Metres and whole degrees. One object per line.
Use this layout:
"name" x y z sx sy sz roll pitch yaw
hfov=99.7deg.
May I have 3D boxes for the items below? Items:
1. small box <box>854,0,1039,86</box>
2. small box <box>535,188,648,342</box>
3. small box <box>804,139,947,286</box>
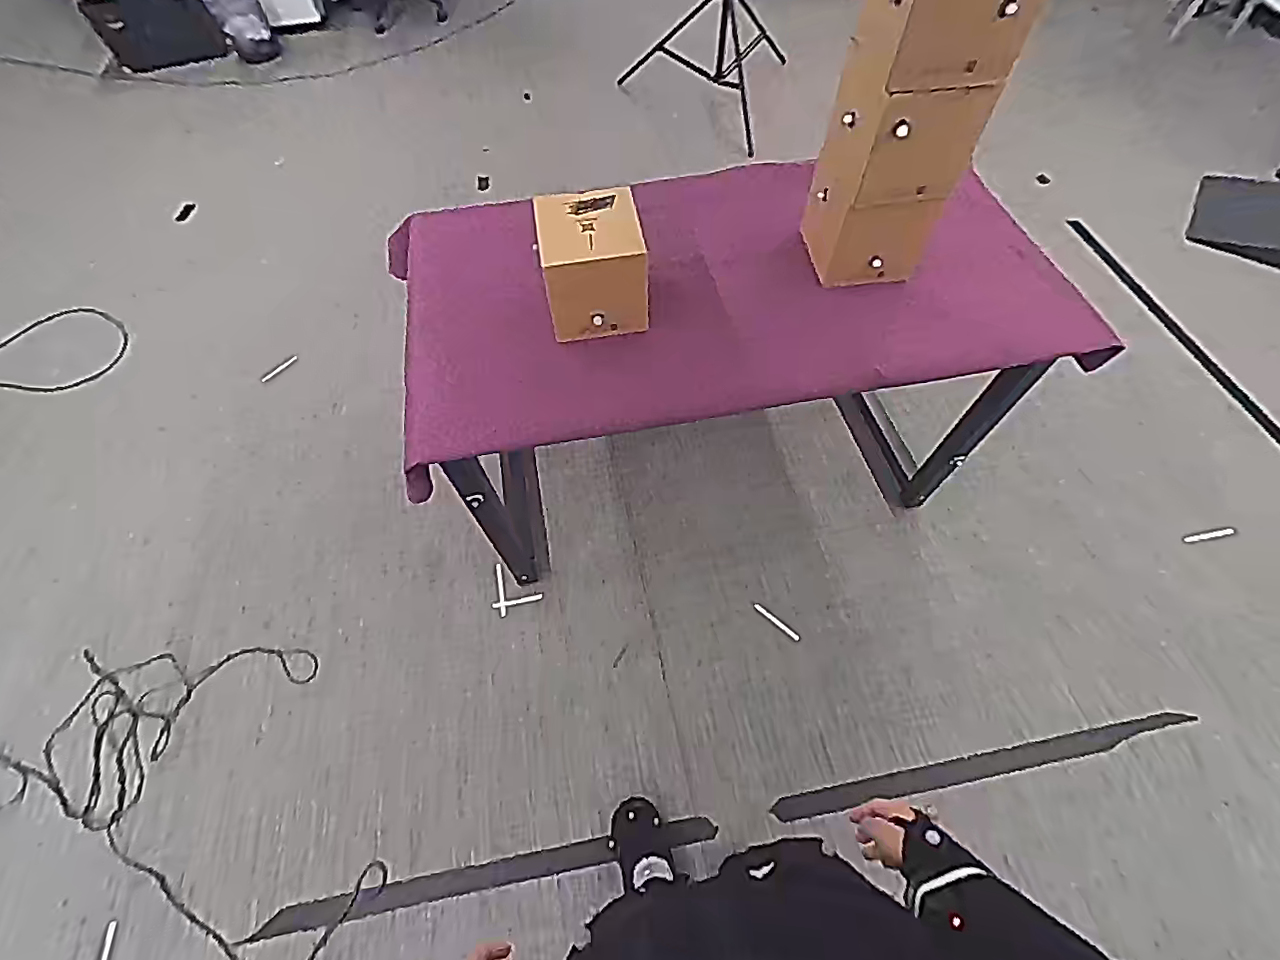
"small box" 0.399 -0.636 0.694 0.168 0.176 0.179 -4 59 -1
"small box" -0.081 -0.366 0.932 0.168 0.176 0.179 -9 62 -4
"small box" 0.411 -0.481 0.982 0.168 0.176 0.179 -6 61 -1
